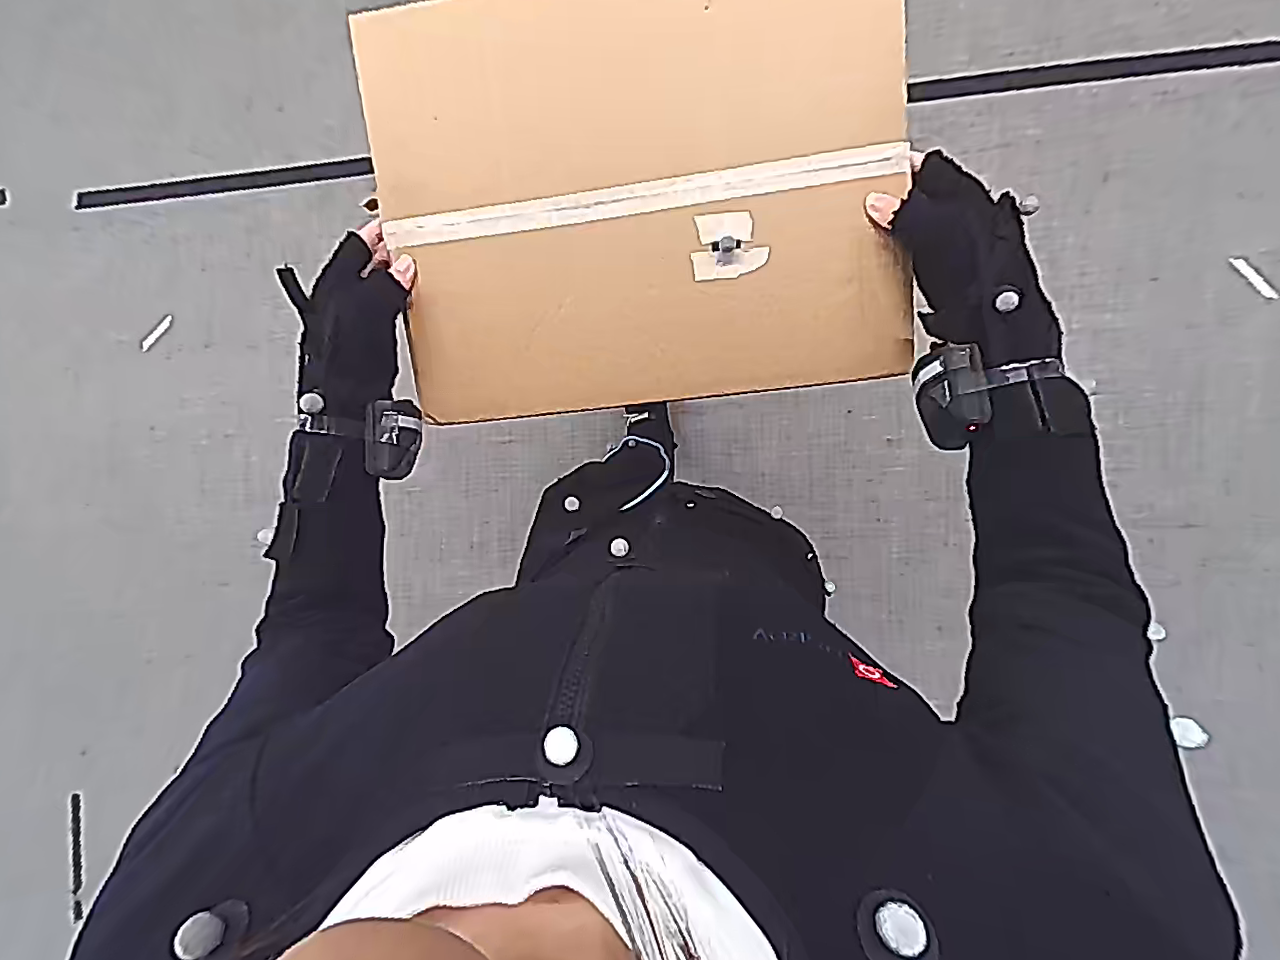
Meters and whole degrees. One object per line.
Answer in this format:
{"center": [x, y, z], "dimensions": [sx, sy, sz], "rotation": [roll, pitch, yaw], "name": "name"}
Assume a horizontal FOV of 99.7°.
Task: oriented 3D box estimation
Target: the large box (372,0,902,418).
{"center": [0.010, -0.253, 0.580], "dimensions": [0.408, 0.320, 0.320], "rotation": [-6, 101, 6], "name": "large box"}
